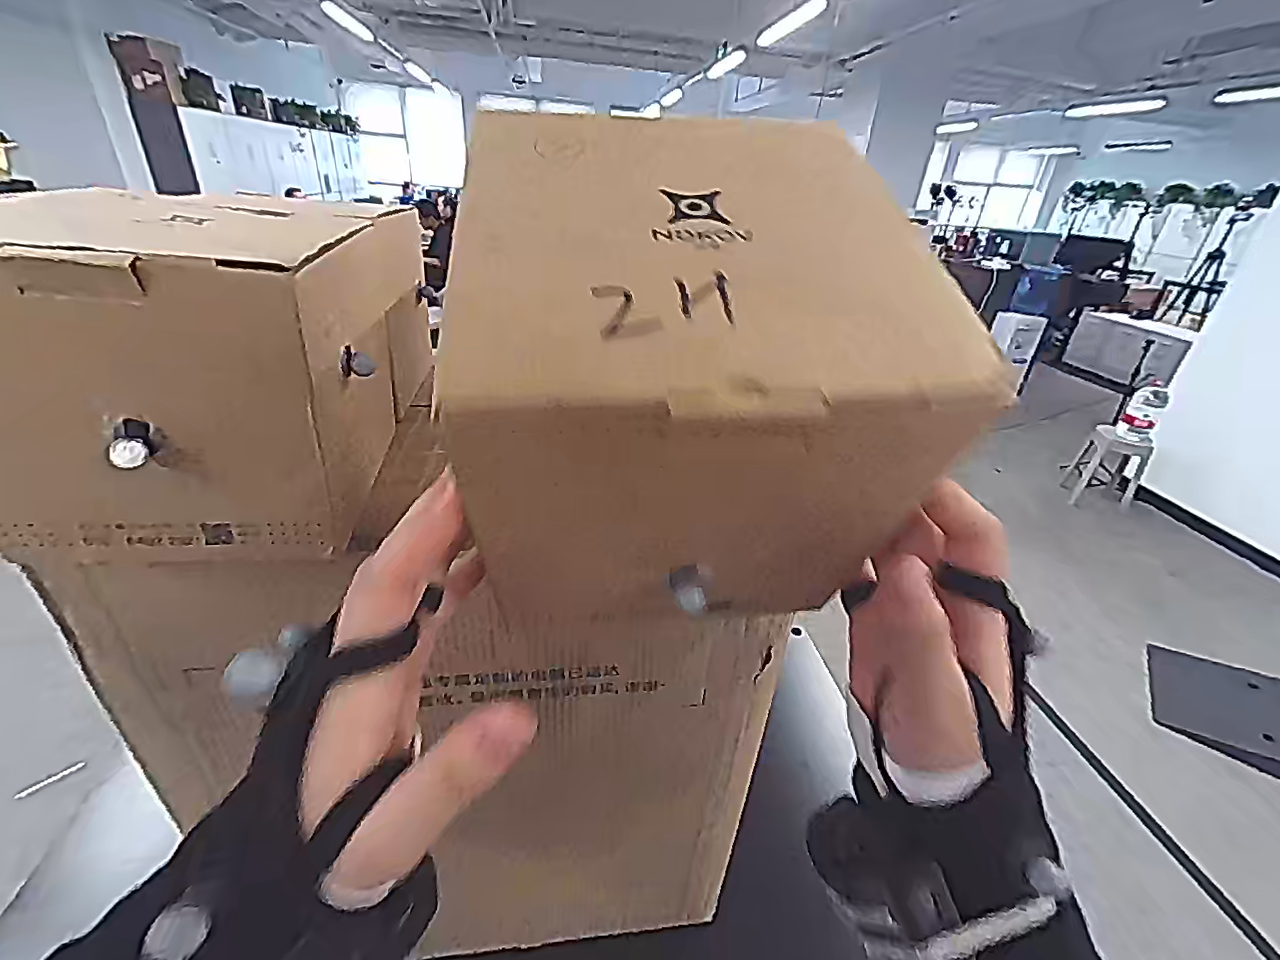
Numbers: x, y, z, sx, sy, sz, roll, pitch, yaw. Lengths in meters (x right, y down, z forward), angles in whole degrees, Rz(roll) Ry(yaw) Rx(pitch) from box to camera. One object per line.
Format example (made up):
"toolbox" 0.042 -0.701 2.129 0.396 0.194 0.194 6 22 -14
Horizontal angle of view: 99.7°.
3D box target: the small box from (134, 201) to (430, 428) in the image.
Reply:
"small box" -0.300 -0.158 0.506 0.168 0.176 0.179 -1 29 -10

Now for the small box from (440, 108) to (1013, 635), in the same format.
"small box" 0.013 -0.042 0.258 0.168 0.176 0.179 -3 58 -7
